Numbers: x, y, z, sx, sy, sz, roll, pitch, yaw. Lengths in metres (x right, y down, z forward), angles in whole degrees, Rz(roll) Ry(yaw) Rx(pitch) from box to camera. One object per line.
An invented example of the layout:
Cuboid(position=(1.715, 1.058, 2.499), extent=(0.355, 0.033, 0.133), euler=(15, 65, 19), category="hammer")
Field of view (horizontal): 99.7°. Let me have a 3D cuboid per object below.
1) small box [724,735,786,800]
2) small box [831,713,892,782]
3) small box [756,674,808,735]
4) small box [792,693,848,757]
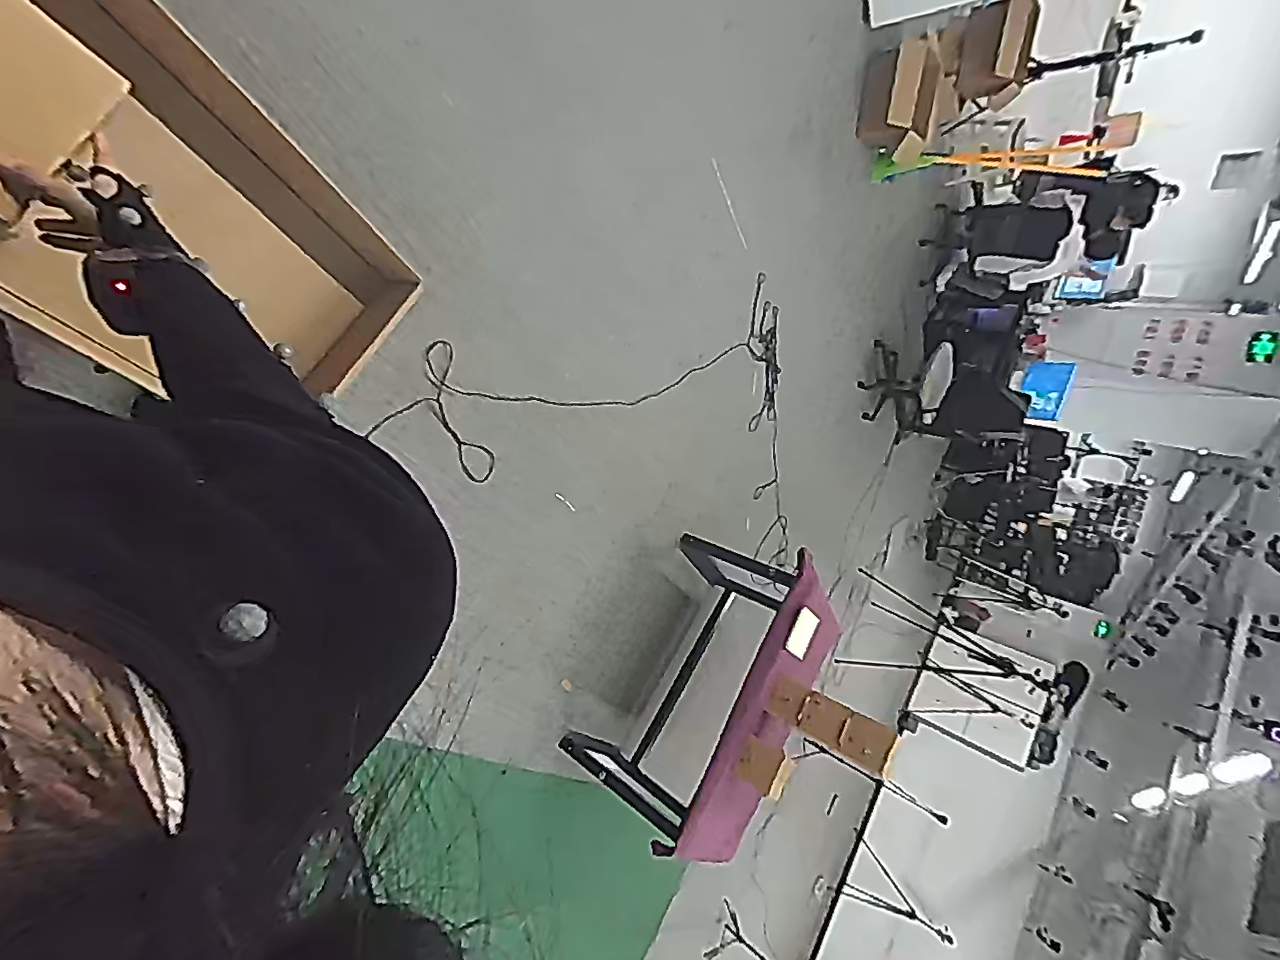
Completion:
Cuboid(position=(0.470, 1.169, 2.205), extent=(0.168, 0.176, 0.179), euler=(-57, 141, -18), category="small box")
Cuboid(position=(0.853, 1.028, 2.085), extent=(0.168, 0.176, 0.179), euler=(-56, 140, -18), category="small box")
Cuboid(position=(0.612, 0.951, 2.294), extent=(0.168, 0.176, 0.179), euler=(-57, 139, -18), category="small box")
Cuboid(position=(0.733, 0.989, 2.188), extent=(0.168, 0.176, 0.179), euler=(-57, 141, -18), category="small box")
